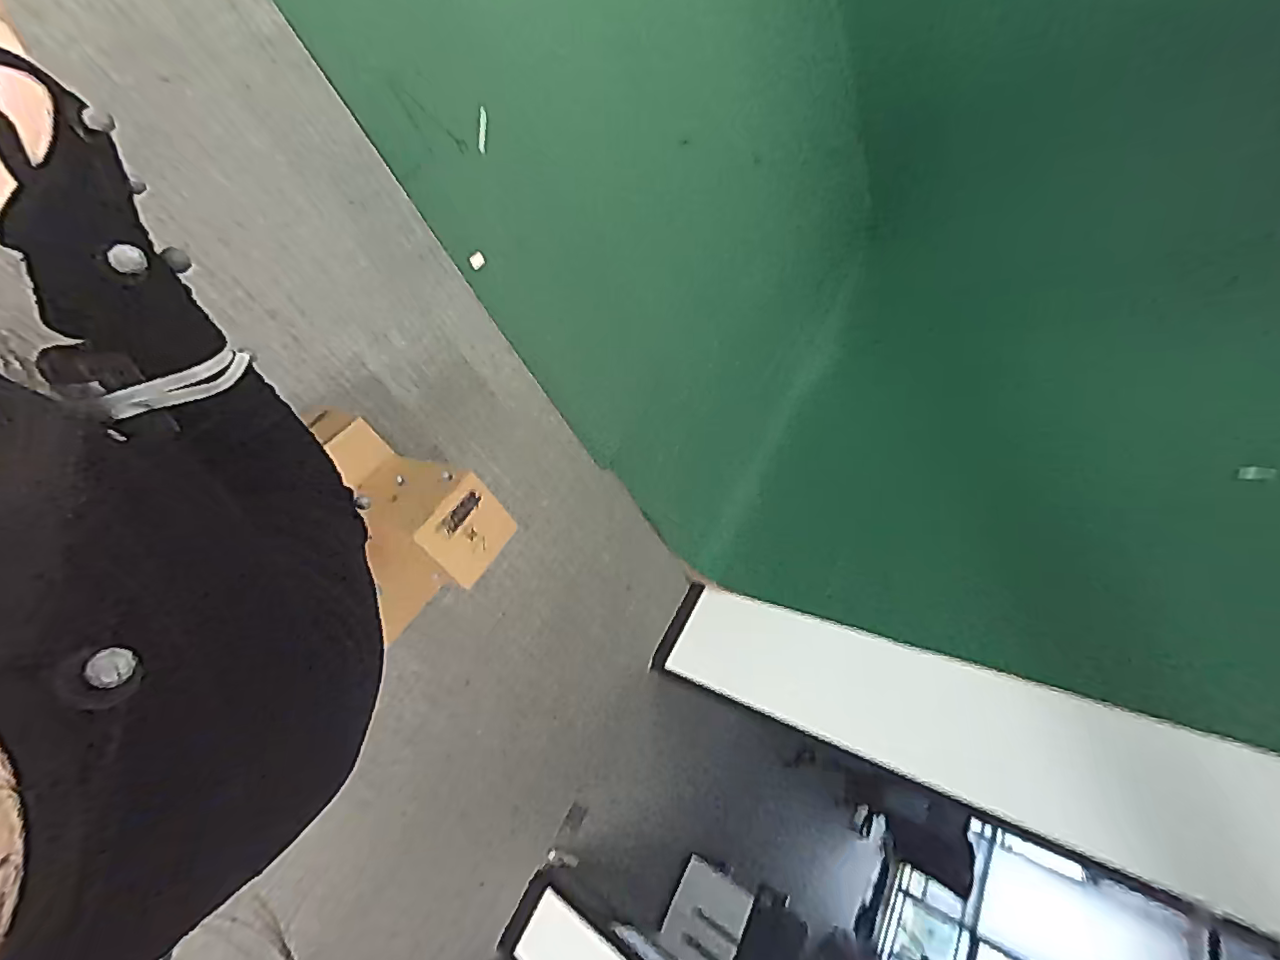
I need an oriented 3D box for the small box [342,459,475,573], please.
[{"bbox_3d":[-0.509,0.072,1.195,0.168,0.176,0.179,-52,134,-31],"label":"small box"}]
